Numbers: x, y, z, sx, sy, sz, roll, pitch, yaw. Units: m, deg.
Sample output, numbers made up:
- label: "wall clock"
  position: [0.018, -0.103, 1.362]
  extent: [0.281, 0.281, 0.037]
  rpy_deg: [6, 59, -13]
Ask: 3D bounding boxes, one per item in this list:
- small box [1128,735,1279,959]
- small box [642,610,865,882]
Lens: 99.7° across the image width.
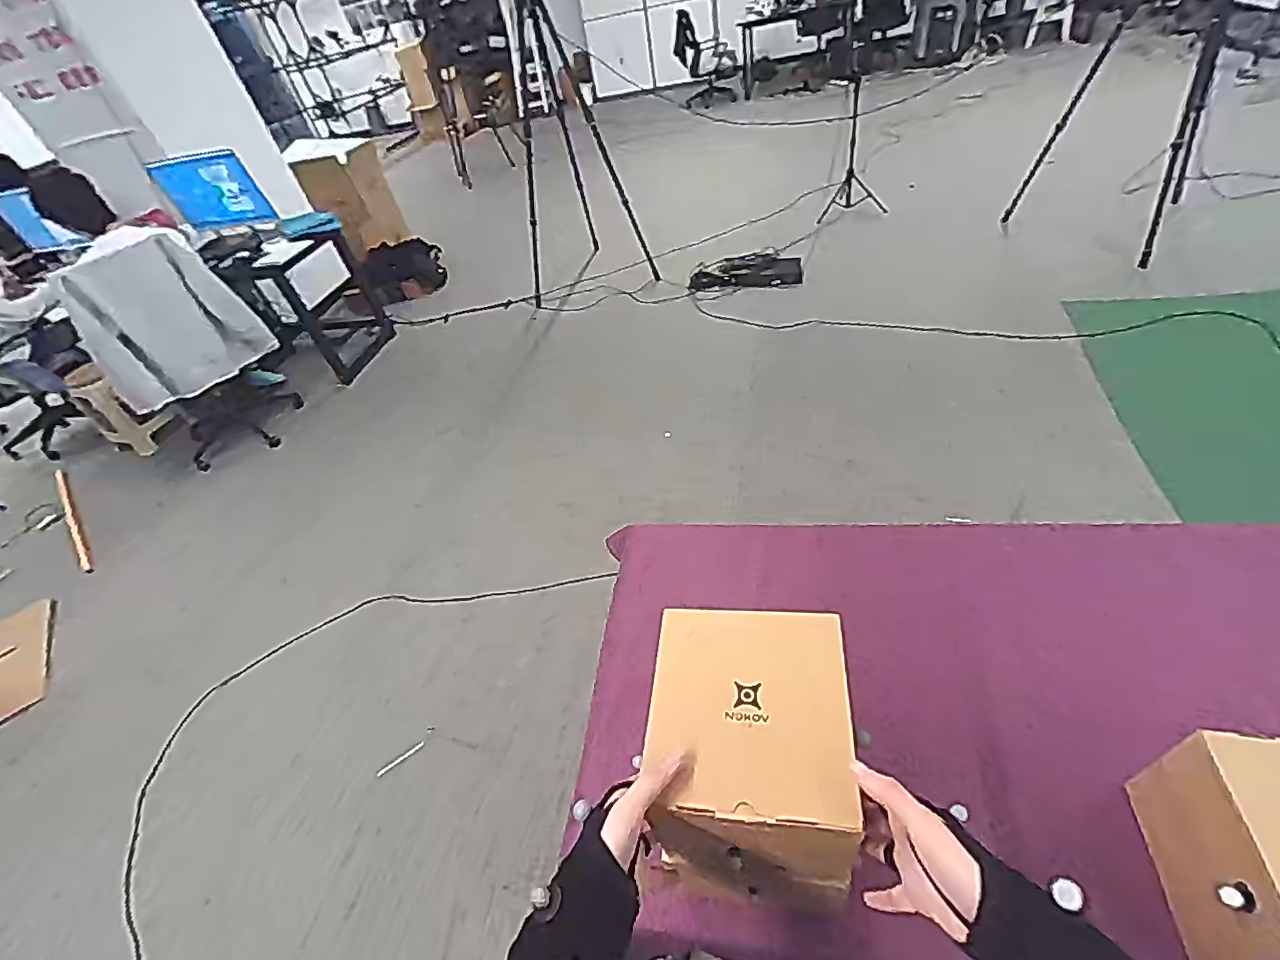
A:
- label: "small box"
  position: [0.609, 0.364, 0.496]
  extent: [0.168, 0.176, 0.179]
  rpy_deg: [2, 45, 15]
- label: "small box"
  position: [0.106, 0.246, 0.509]
  extent: [0.168, 0.176, 0.179]
  rpy_deg: [-1, 45, 14]
